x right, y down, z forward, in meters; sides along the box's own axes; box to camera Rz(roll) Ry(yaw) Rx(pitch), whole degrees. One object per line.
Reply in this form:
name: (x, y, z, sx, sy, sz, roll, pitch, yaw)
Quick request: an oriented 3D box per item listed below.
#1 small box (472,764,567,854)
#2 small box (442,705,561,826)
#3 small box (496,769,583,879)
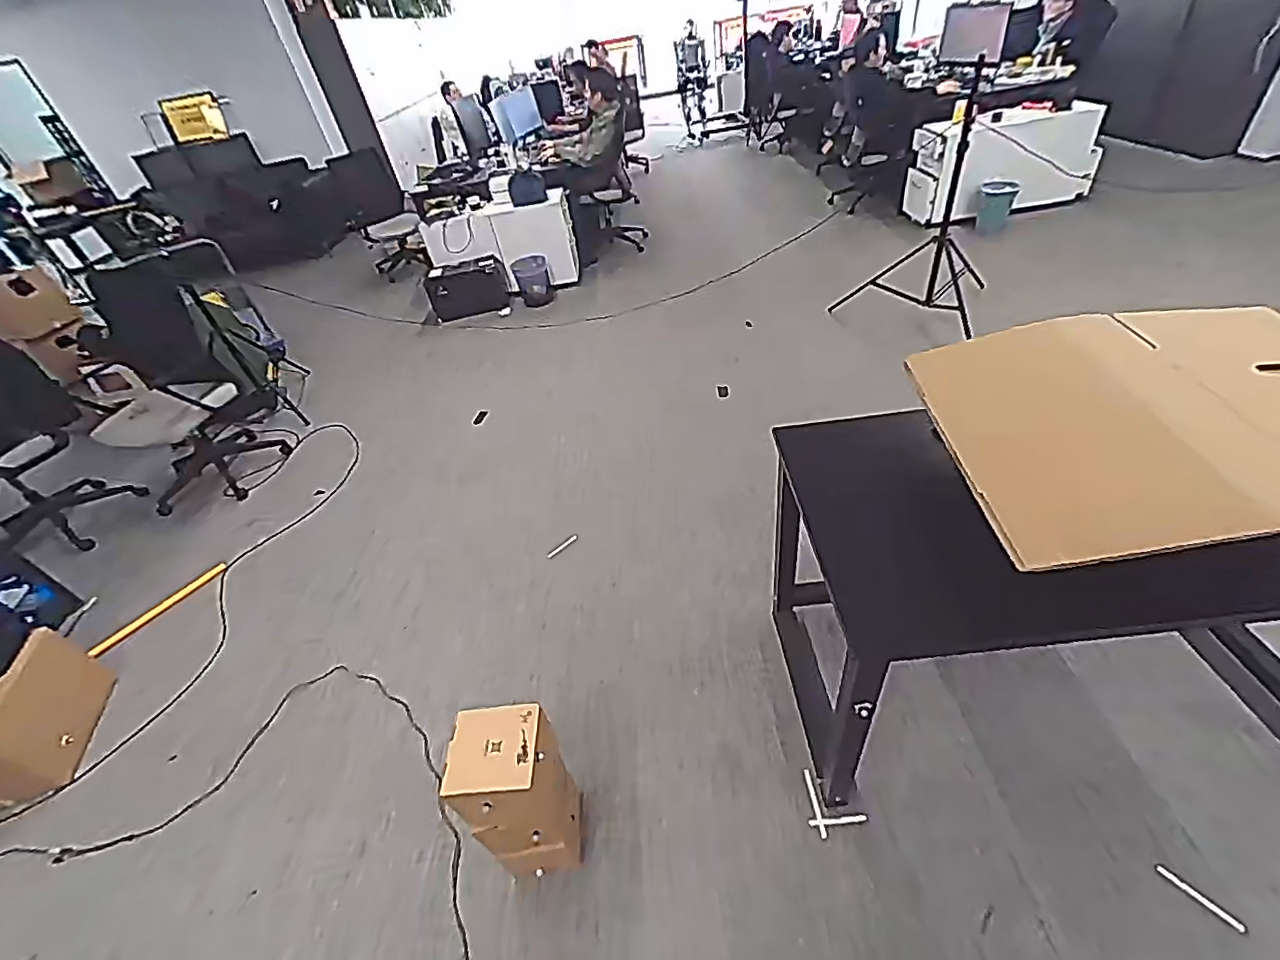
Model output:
small box: (-0.264, 0.712, 1.217, 0.168, 0.176, 0.179, -11, 39, -2)
small box: (-0.273, 0.588, 1.109, 0.179, 0.176, 0.168, -8, 40, 4)
small box: (-0.238, 0.837, 1.316, 0.168, 0.176, 0.179, -10, 41, 1)
